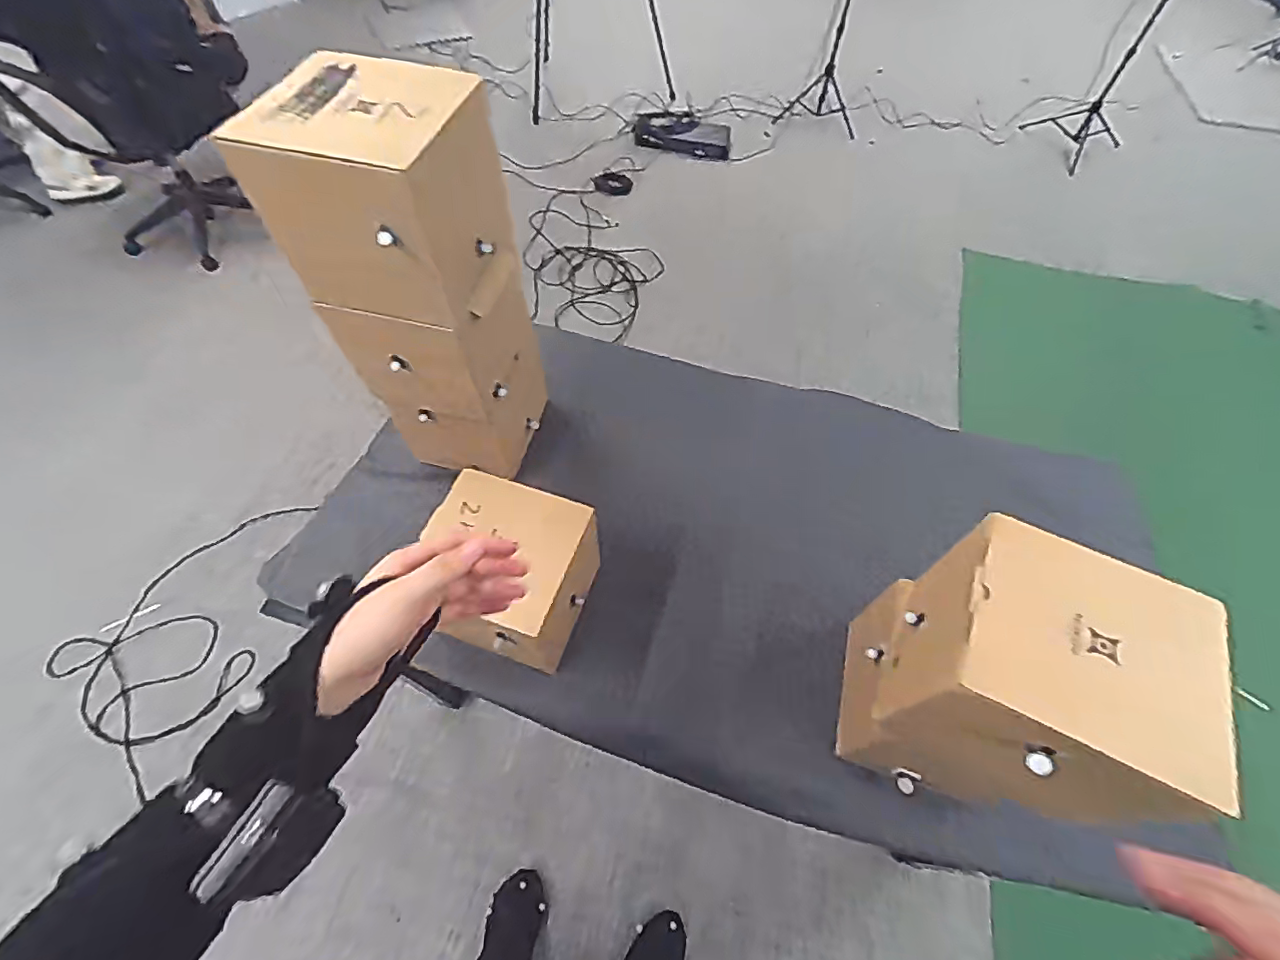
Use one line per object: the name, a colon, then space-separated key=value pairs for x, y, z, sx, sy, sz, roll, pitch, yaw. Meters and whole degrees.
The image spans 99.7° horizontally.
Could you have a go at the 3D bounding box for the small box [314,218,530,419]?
small box: x=-0.256 y=-0.199 z=0.691 sx=0.179 sy=0.176 sz=0.168 roll=12 pitch=60 yaw=7

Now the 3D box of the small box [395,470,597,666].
small box: x=-0.162 y=0.118 z=0.683 sx=0.179 sy=0.176 sz=0.168 roll=17 pitch=59 yaw=9

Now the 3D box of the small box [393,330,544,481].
small box: x=-0.255 y=-0.126 z=0.839 sx=0.168 sy=0.176 sz=0.179 roll=12 pitch=59 yaw=6

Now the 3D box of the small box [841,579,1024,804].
small box: x=0.340 y=0.242 z=0.612 sx=0.168 sy=0.176 sz=0.179 roll=15 pitch=58 yaw=9

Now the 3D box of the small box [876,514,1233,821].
small box: x=0.337 y=0.164 z=0.469 sx=0.179 sy=0.176 sz=0.168 roll=24 pitch=59 yaw=16
